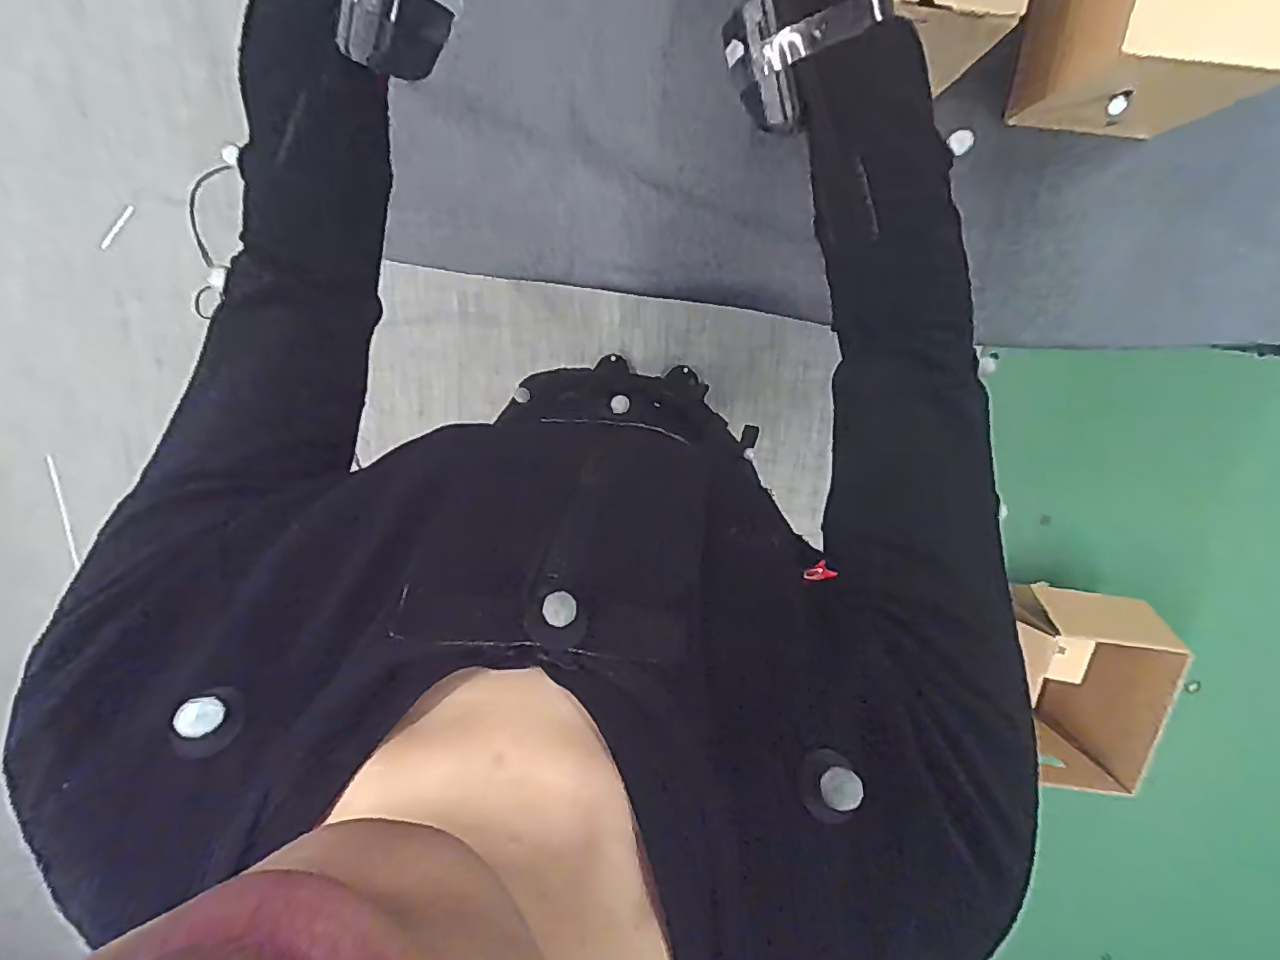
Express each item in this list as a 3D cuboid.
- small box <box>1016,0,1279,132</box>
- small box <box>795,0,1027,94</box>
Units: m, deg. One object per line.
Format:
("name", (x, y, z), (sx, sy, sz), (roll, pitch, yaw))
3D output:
("small box", (0.498, -0.454, 0.506), (0.168, 0.176, 0.179), (6, 105, 1))
("small box", (0.254, -0.497, 0.504), (0.168, 0.176, 0.179), (8, 105, 0))
